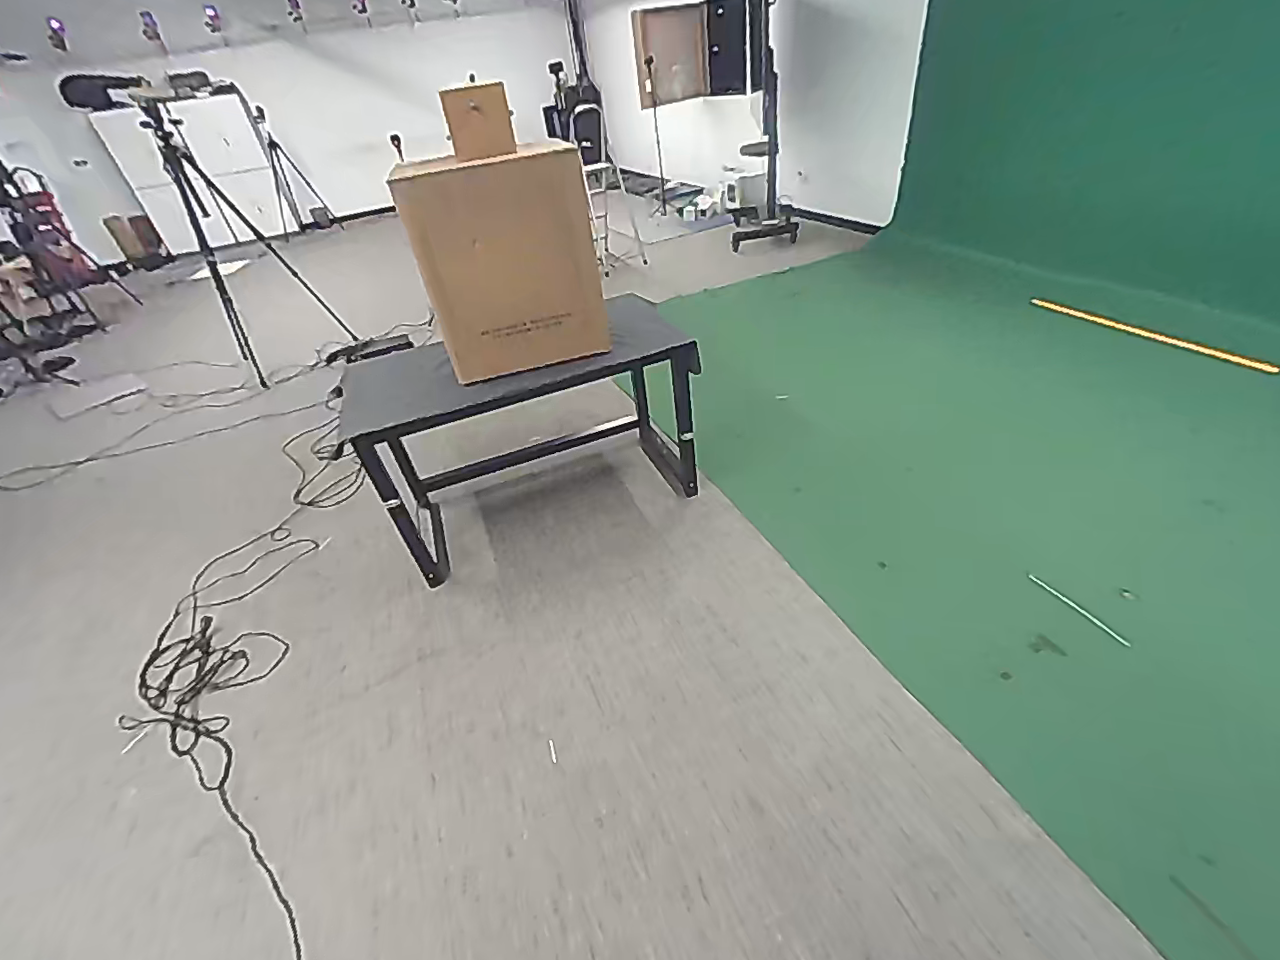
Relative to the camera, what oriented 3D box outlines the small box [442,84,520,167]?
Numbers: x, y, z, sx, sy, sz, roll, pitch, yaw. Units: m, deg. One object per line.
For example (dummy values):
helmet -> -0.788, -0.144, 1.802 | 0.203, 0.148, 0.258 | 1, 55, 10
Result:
small box -> -0.447, -1.008, 1.535 | 0.179, 0.176, 0.168 | -16, 40, -9
